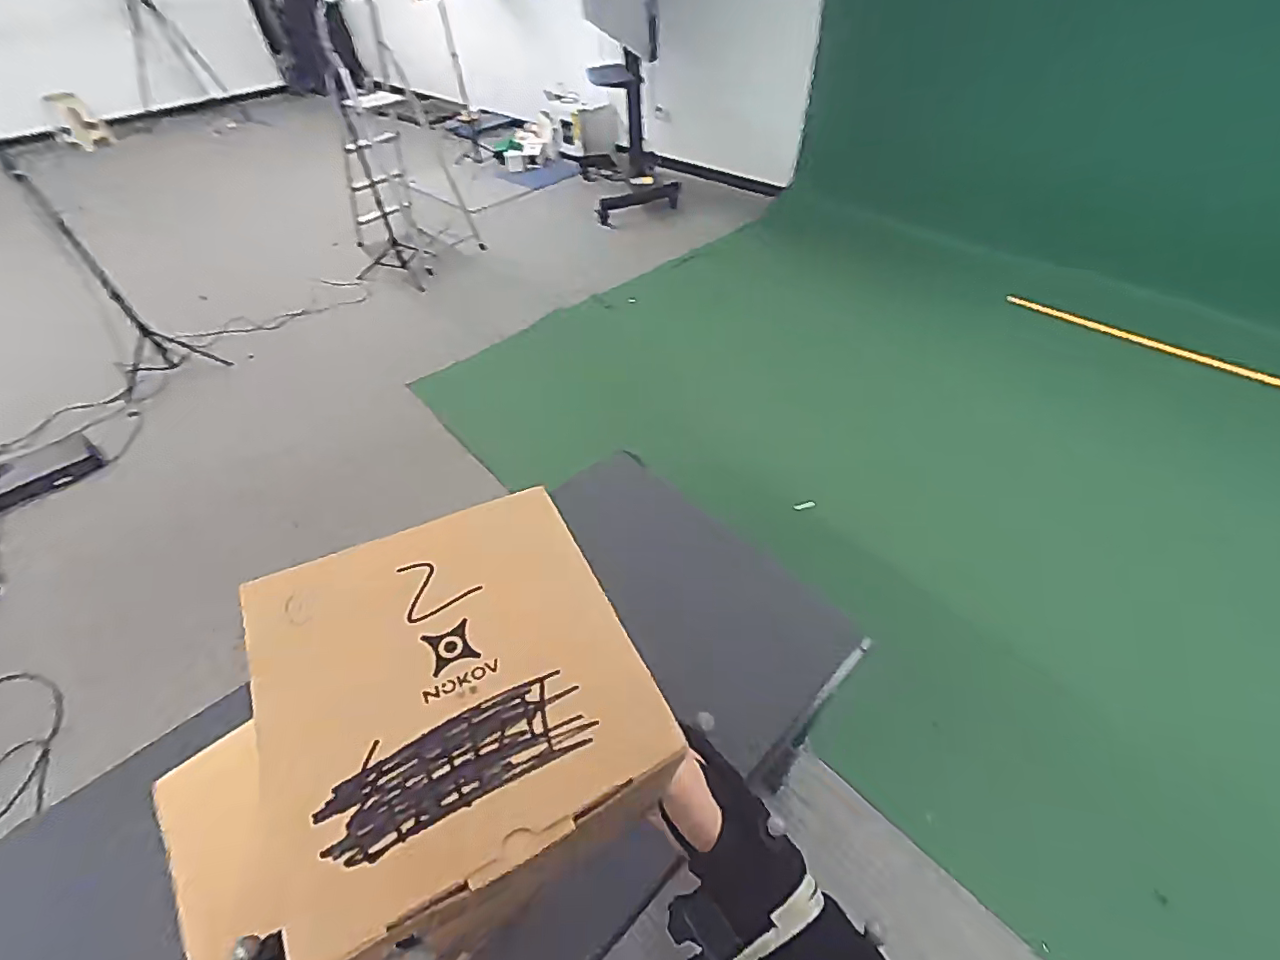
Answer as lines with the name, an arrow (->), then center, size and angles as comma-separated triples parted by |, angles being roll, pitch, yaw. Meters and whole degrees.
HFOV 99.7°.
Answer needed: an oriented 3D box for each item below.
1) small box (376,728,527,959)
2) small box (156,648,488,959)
small box -> -0.246, 0.409, 0.576 | 0.168, 0.176, 0.179 | -35, 53, -26
small box -> -0.258, 0.291, 0.466 | 0.168, 0.176, 0.179 | -33, 53, -26
